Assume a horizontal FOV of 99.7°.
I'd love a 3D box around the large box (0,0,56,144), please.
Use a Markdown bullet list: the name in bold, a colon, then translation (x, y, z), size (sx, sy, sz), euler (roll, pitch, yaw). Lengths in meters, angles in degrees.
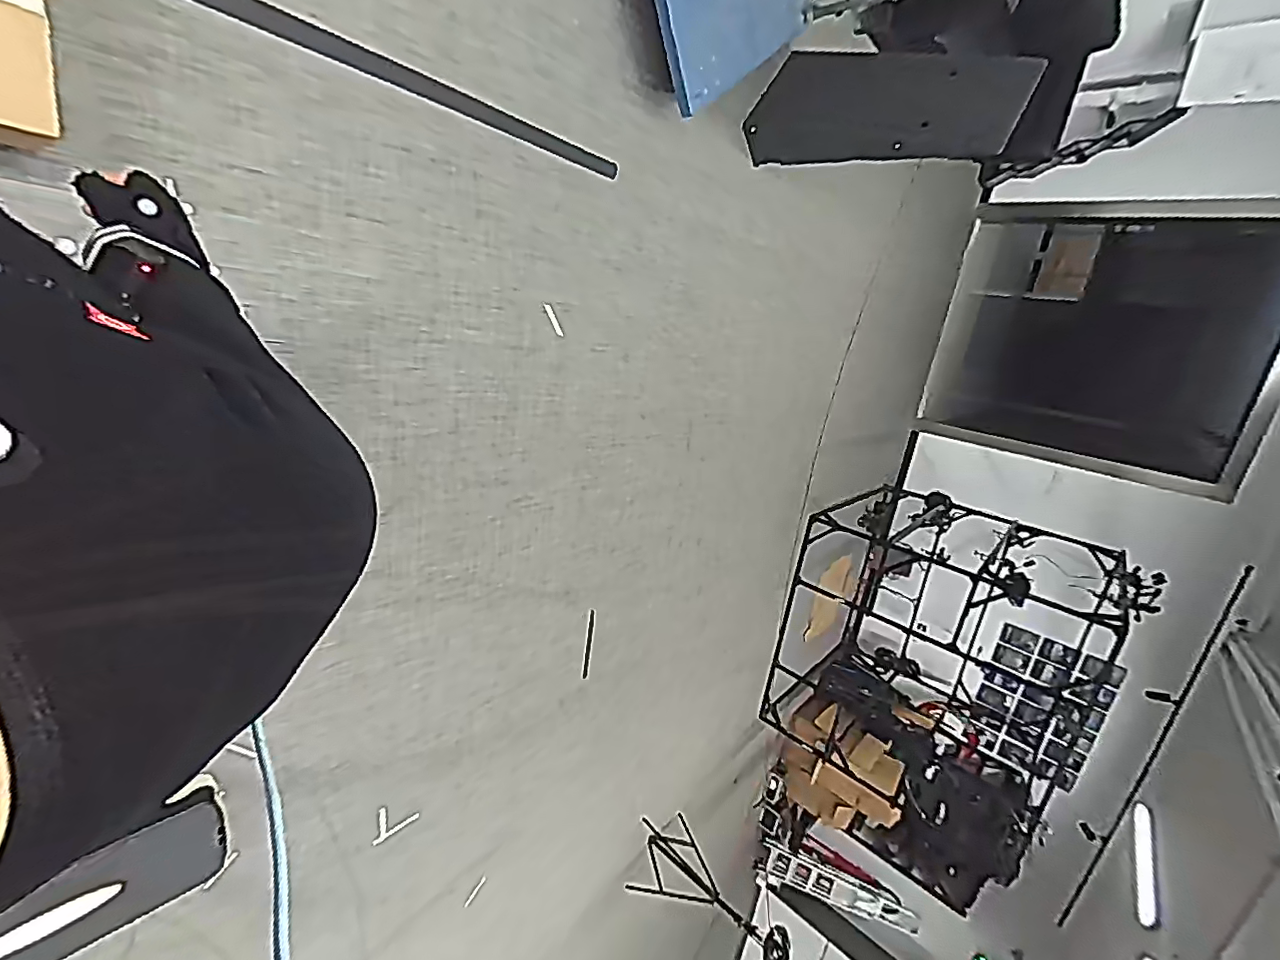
- **large box**: translation (-1.040, -0.653, 0.654), size (0.408, 0.320, 0.320), euler (-11, 116, -51)
